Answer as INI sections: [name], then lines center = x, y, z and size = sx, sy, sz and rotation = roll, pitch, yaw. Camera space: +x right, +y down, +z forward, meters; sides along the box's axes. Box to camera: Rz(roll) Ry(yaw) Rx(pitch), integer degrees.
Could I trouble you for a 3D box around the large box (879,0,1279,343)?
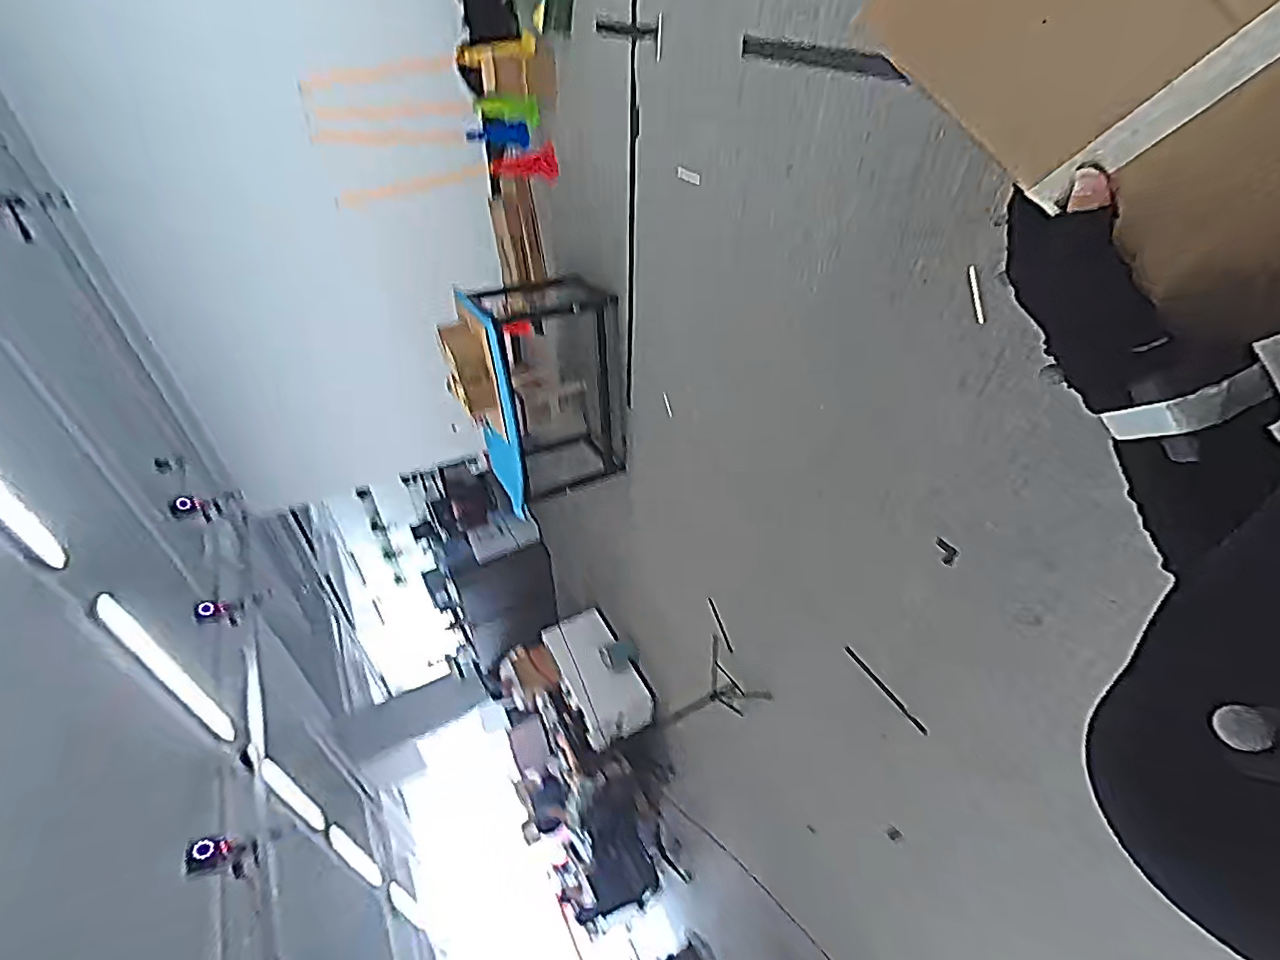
[large box]
center = 0.403, -0.347, 0.229
size = 0.320, 0.320, 0.408
rotation = 39, 155, -7
